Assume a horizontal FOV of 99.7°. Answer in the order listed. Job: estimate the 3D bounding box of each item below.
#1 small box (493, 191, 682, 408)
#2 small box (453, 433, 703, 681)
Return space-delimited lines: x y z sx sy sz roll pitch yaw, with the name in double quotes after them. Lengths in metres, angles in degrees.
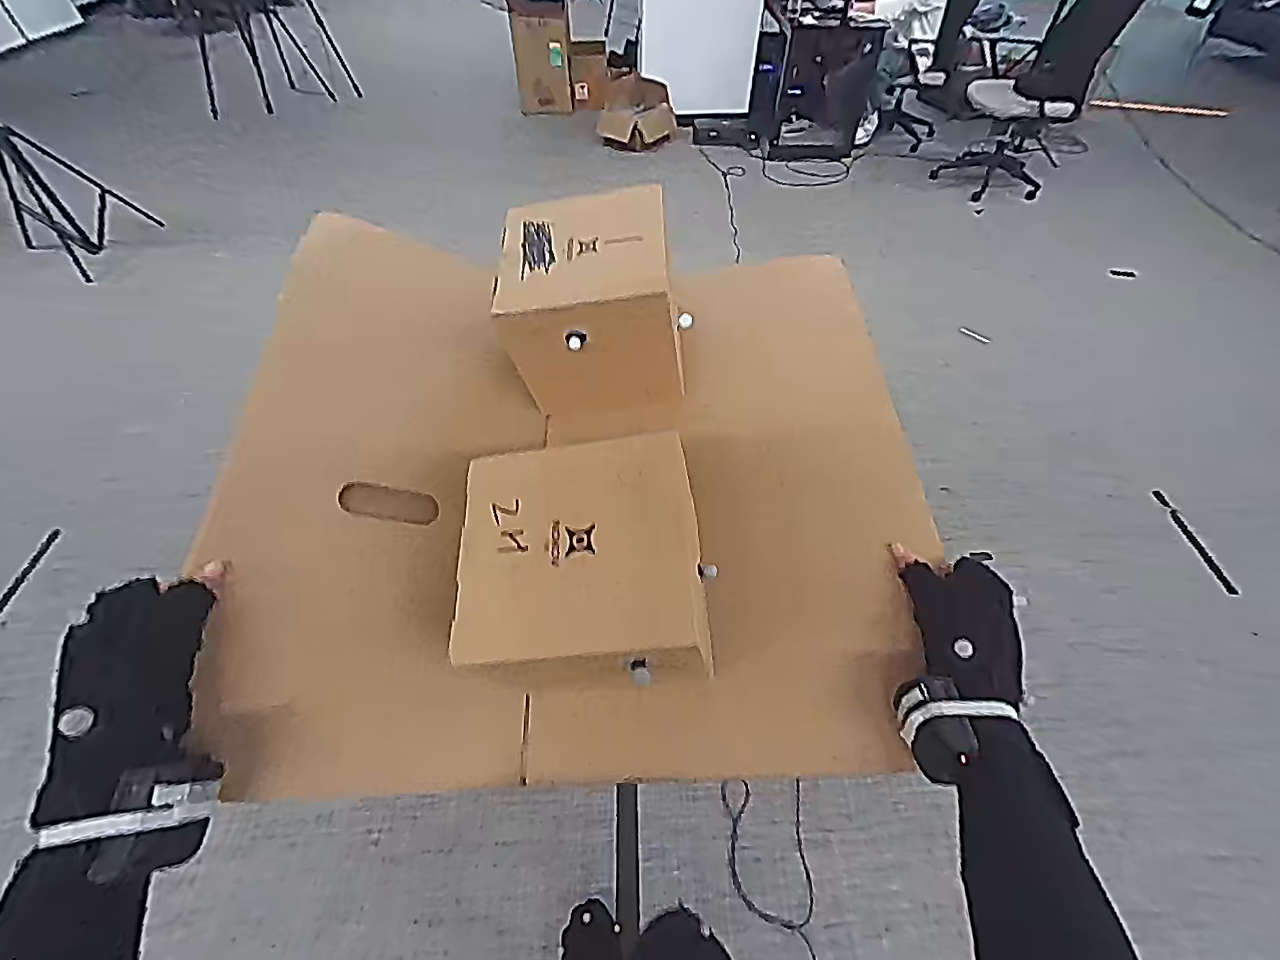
-0.048 -0.199 0.633 0.179 0.176 0.168 -5 61 8 "small box"
-0.038 0.079 0.481 0.179 0.176 0.168 -7 61 8 "small box"
